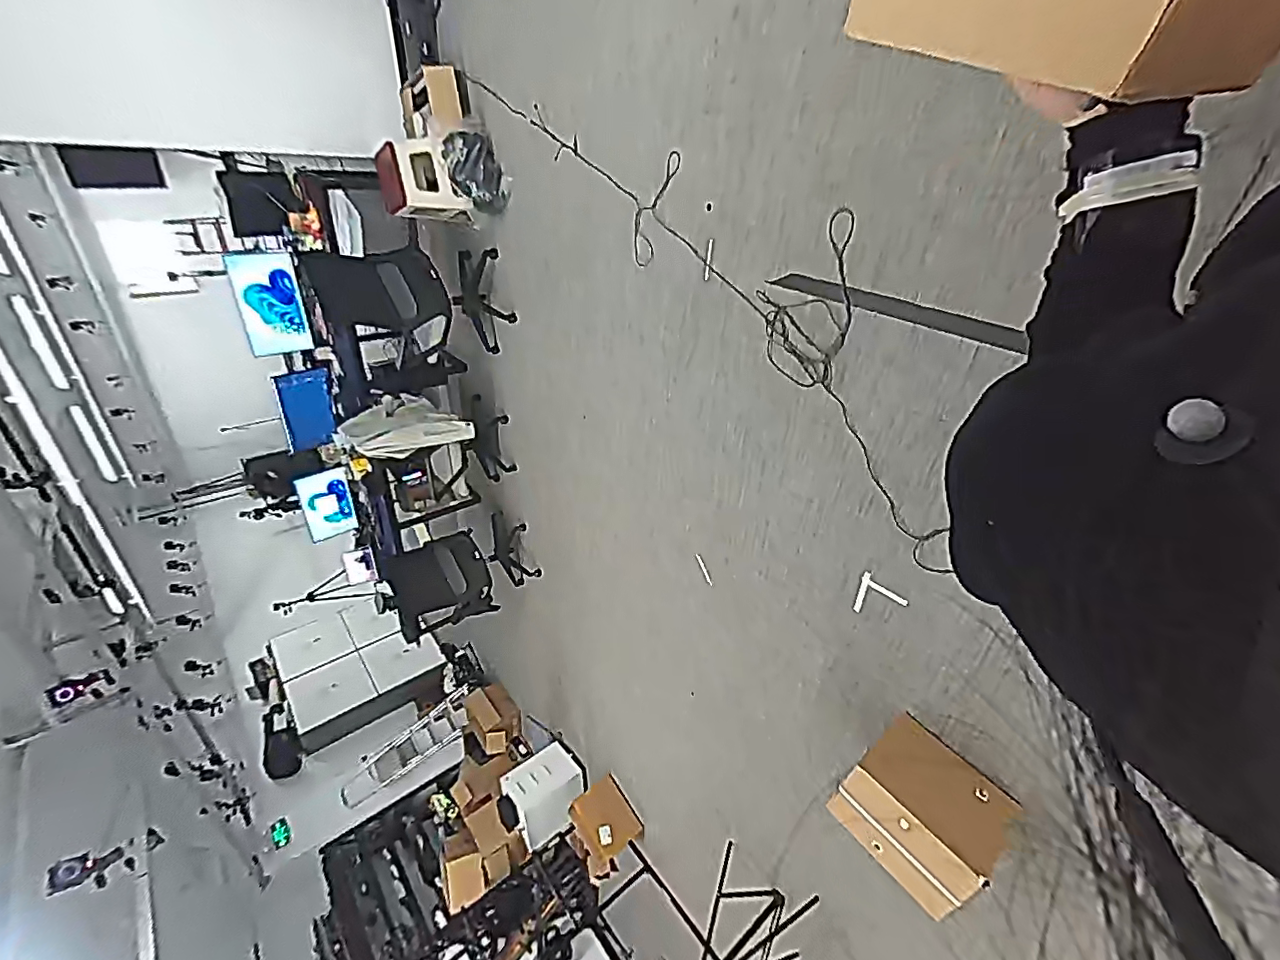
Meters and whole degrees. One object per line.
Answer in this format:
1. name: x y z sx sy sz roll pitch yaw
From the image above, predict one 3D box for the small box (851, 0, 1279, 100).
1. small box: 0.254 -0.314 0.274 0.179 0.176 0.168 51 150 35
